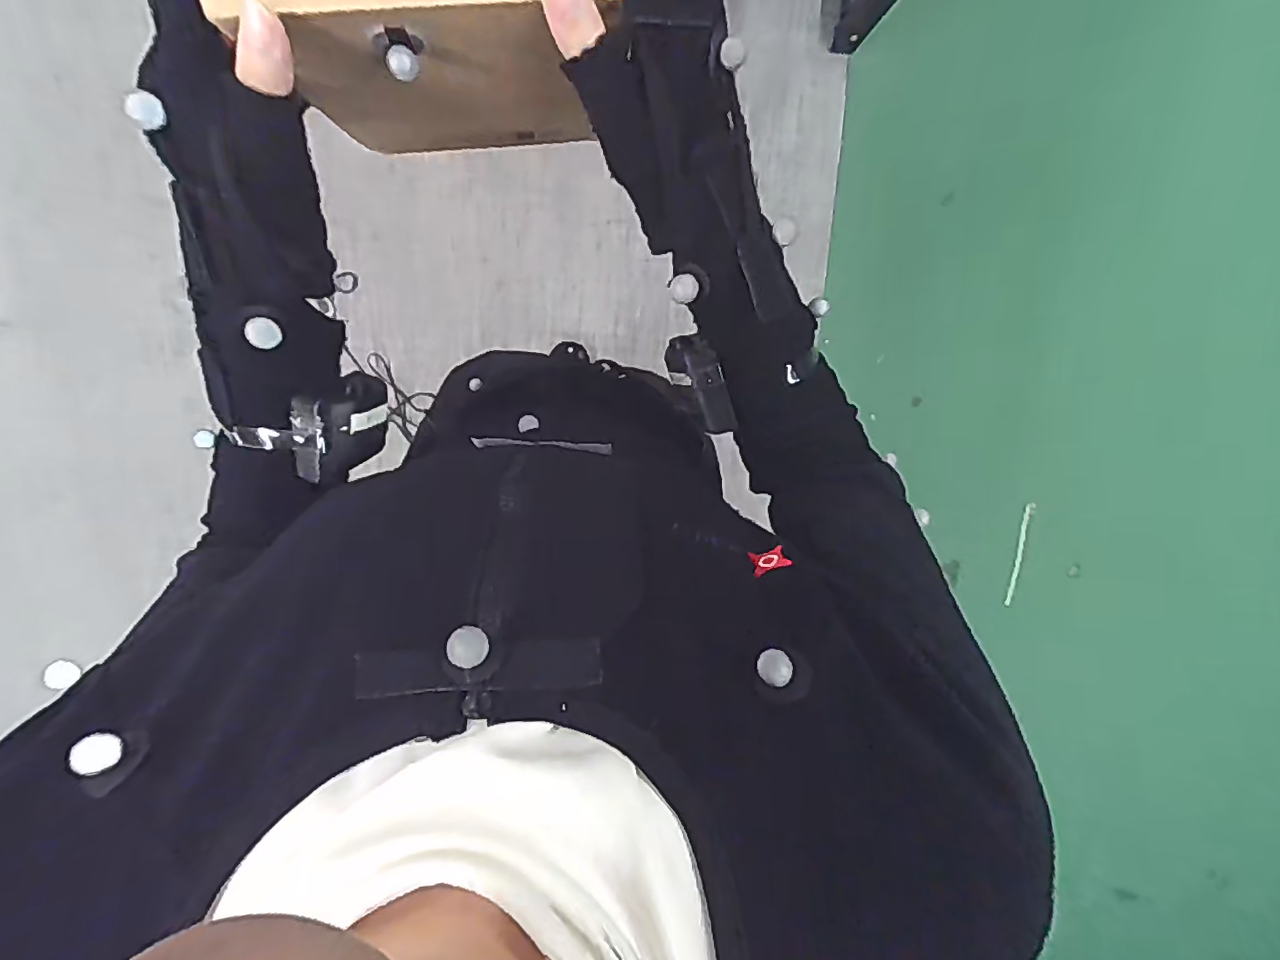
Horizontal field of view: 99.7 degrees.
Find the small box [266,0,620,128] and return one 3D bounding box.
[{"bbox_3d":[-0.101,-0.302,0.261,0.168,0.176,0.179,-6,105,-4],"label":"small box"}]
